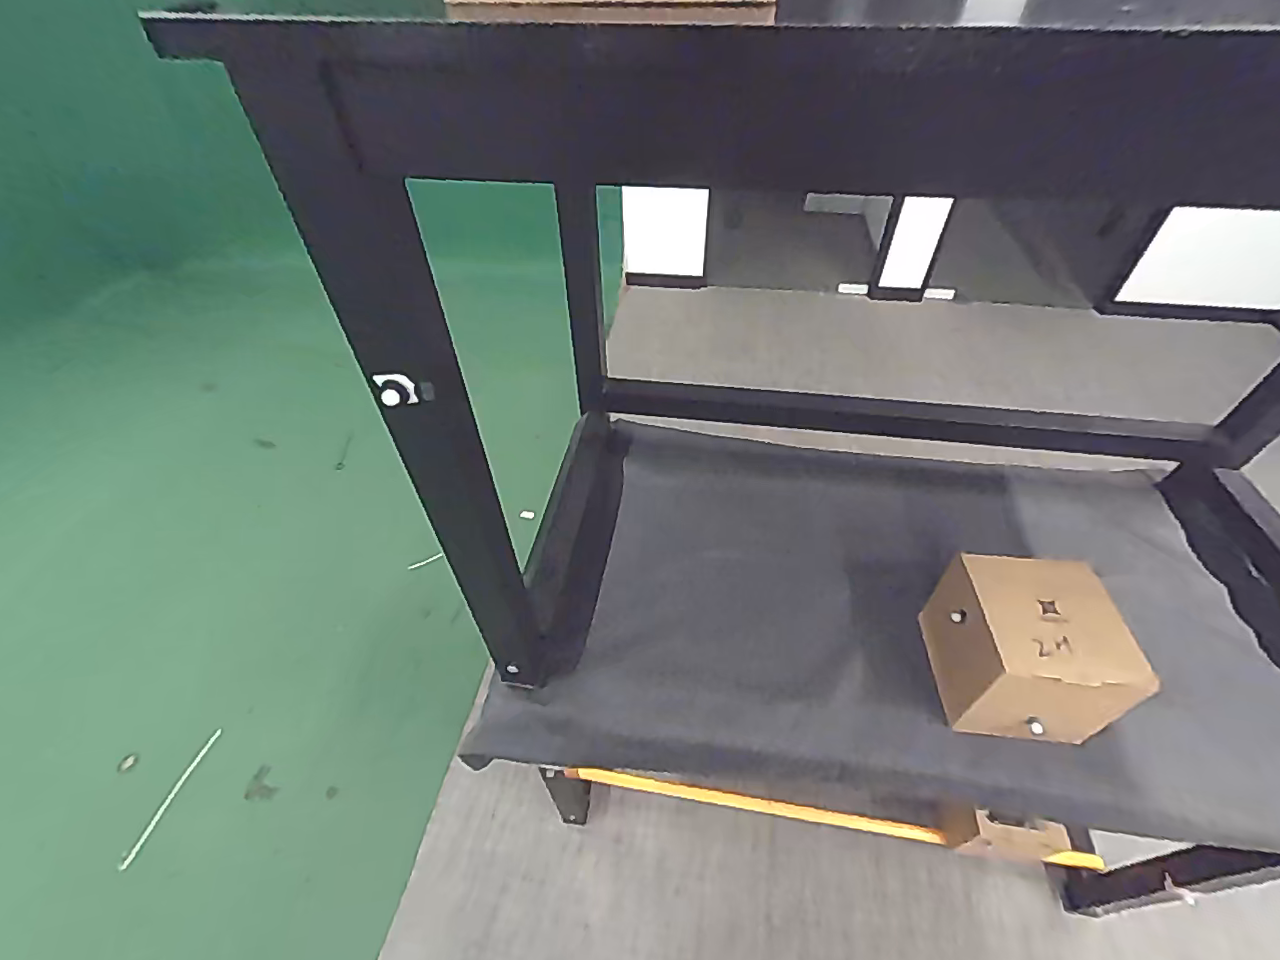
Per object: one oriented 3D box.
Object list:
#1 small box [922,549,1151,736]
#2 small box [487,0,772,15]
[{"bbox_3d":[0.508,0.218,0.732,0.168,0.176,0.179,4,45,6],"label":"small box"},{"bbox_3d":[0.000,-0.354,0.276,0.168,0.176,0.179,3,45,3],"label":"small box"}]
